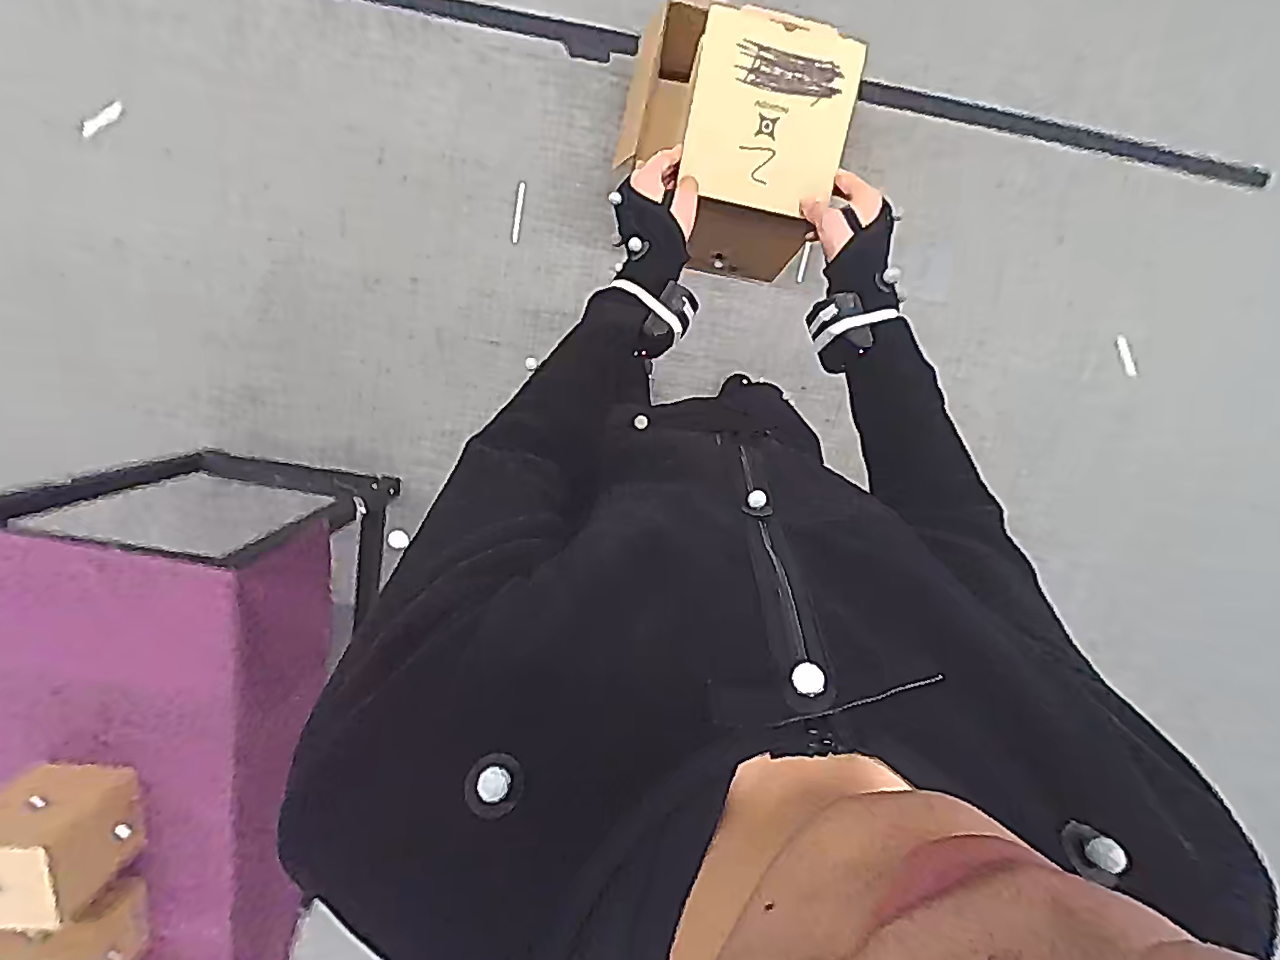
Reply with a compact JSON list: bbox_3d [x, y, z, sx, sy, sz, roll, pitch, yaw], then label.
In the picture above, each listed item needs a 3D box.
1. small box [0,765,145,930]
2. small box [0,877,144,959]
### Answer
[{"bbox_3d":[-1.013,0.618,0.927,0.179,0.176,0.168,5,103,-3],"label":"small box"},{"bbox_3d":[-1.050,0.851,0.977,0.179,0.176,0.168,8,102,-3],"label":"small box"}]
